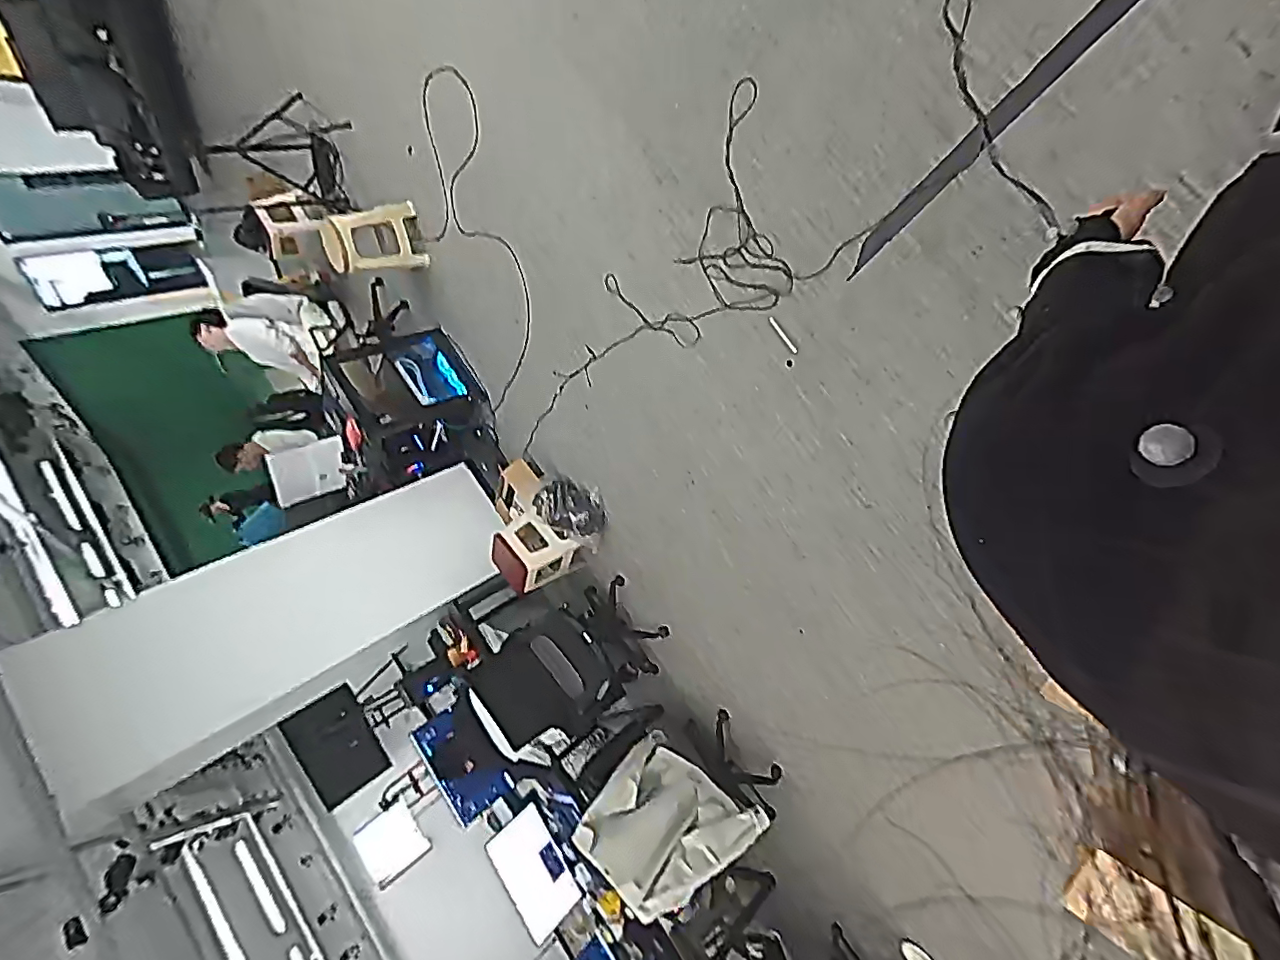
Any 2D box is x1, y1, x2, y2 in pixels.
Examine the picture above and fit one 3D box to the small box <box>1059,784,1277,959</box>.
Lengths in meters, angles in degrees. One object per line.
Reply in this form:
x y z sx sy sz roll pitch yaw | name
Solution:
0.771 0.589 0.797 0.179 0.176 0.168 27 132 39 | small box
